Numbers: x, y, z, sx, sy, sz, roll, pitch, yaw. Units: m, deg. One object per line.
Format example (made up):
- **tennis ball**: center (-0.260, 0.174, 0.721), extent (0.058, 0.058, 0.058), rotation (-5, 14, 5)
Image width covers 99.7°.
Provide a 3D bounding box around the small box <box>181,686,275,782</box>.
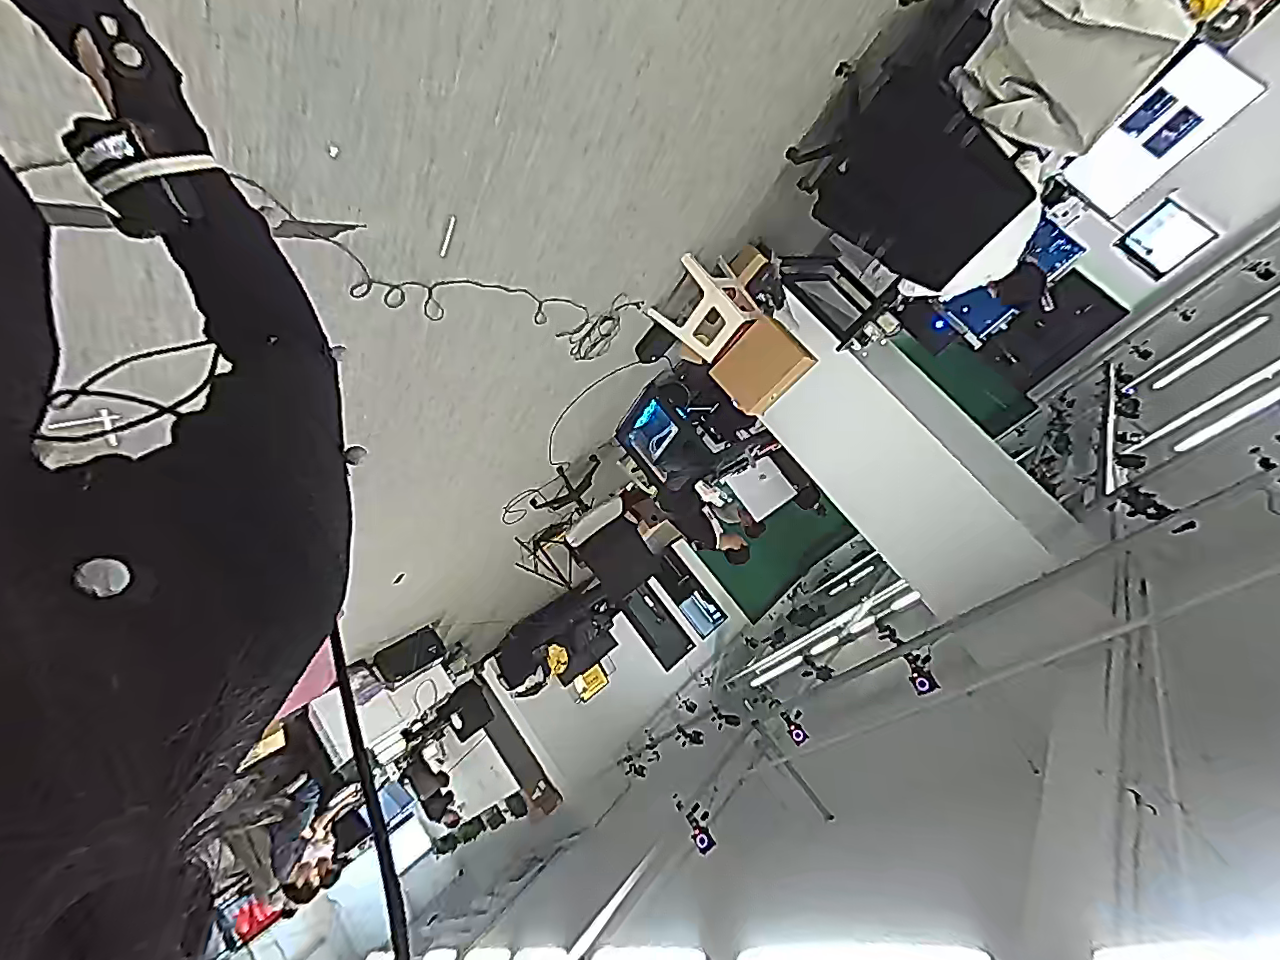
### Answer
- **small box**: center (-1.180, 0.726, 1.555), extent (0.168, 0.176, 0.179), rotation (-26, 161, -43)
